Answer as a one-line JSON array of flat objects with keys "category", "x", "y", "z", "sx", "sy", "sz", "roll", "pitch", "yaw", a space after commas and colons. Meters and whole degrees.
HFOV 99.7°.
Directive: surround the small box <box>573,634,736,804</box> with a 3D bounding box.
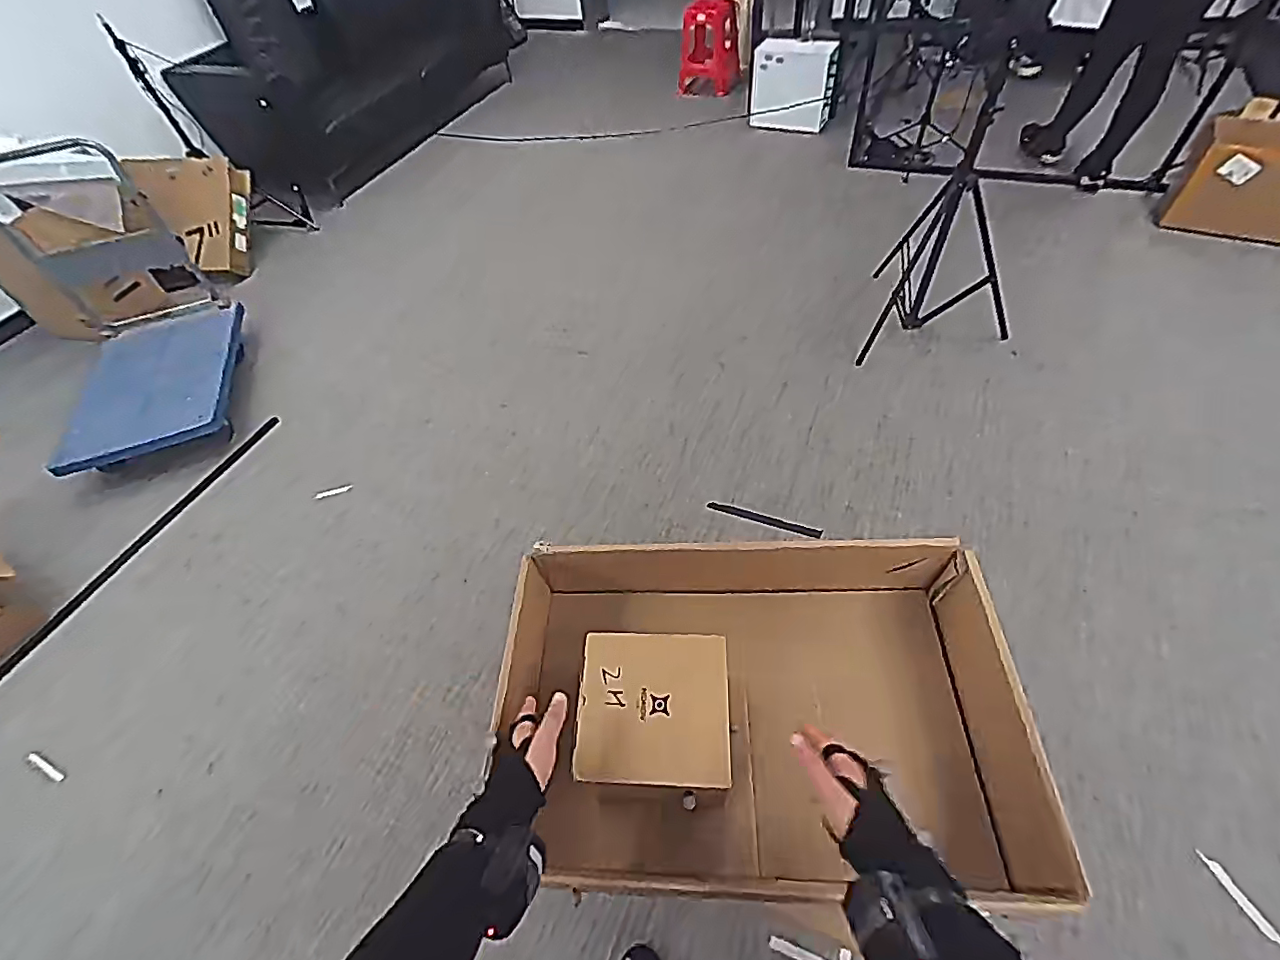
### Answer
[{"category": "small box", "x": 0.026, "y": 0.306, "z": 0.686, "sx": 0.179, "sy": 0.176, "sz": 0.168, "roll": -1, "pitch": 54, "yaw": 7}]
